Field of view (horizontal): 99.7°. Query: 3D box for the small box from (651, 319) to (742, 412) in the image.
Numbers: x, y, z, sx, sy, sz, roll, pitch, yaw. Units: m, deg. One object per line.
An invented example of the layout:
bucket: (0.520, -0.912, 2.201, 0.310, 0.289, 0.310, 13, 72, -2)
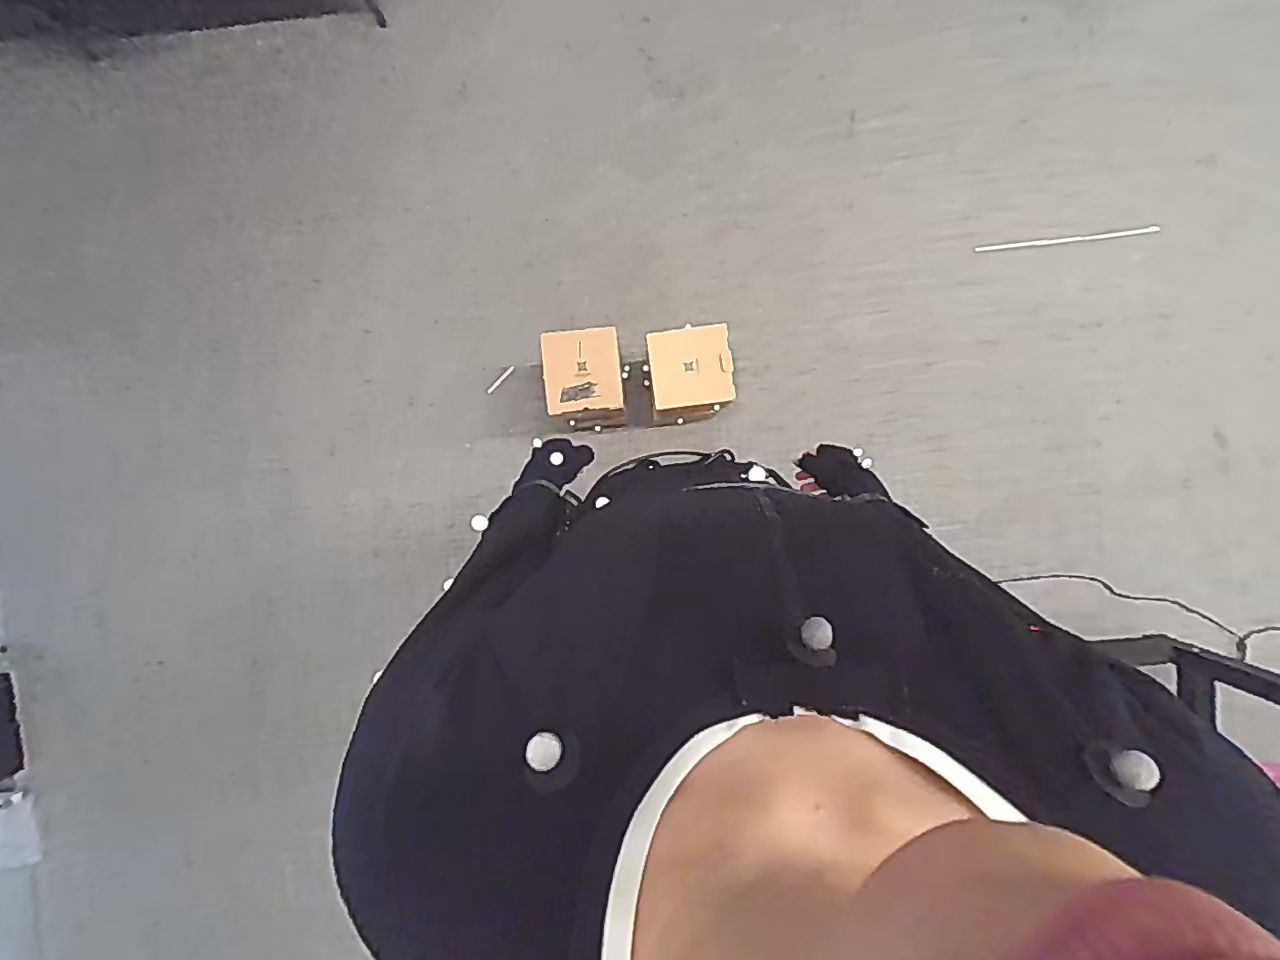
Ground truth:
small box: (0.122, -0.251, 1.220, 0.179, 0.176, 0.168, -8, 92, 1)

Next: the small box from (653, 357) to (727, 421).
small box: (0.122, -0.252, 1.384, 0.168, 0.176, 0.179, -7, 92, 2)
